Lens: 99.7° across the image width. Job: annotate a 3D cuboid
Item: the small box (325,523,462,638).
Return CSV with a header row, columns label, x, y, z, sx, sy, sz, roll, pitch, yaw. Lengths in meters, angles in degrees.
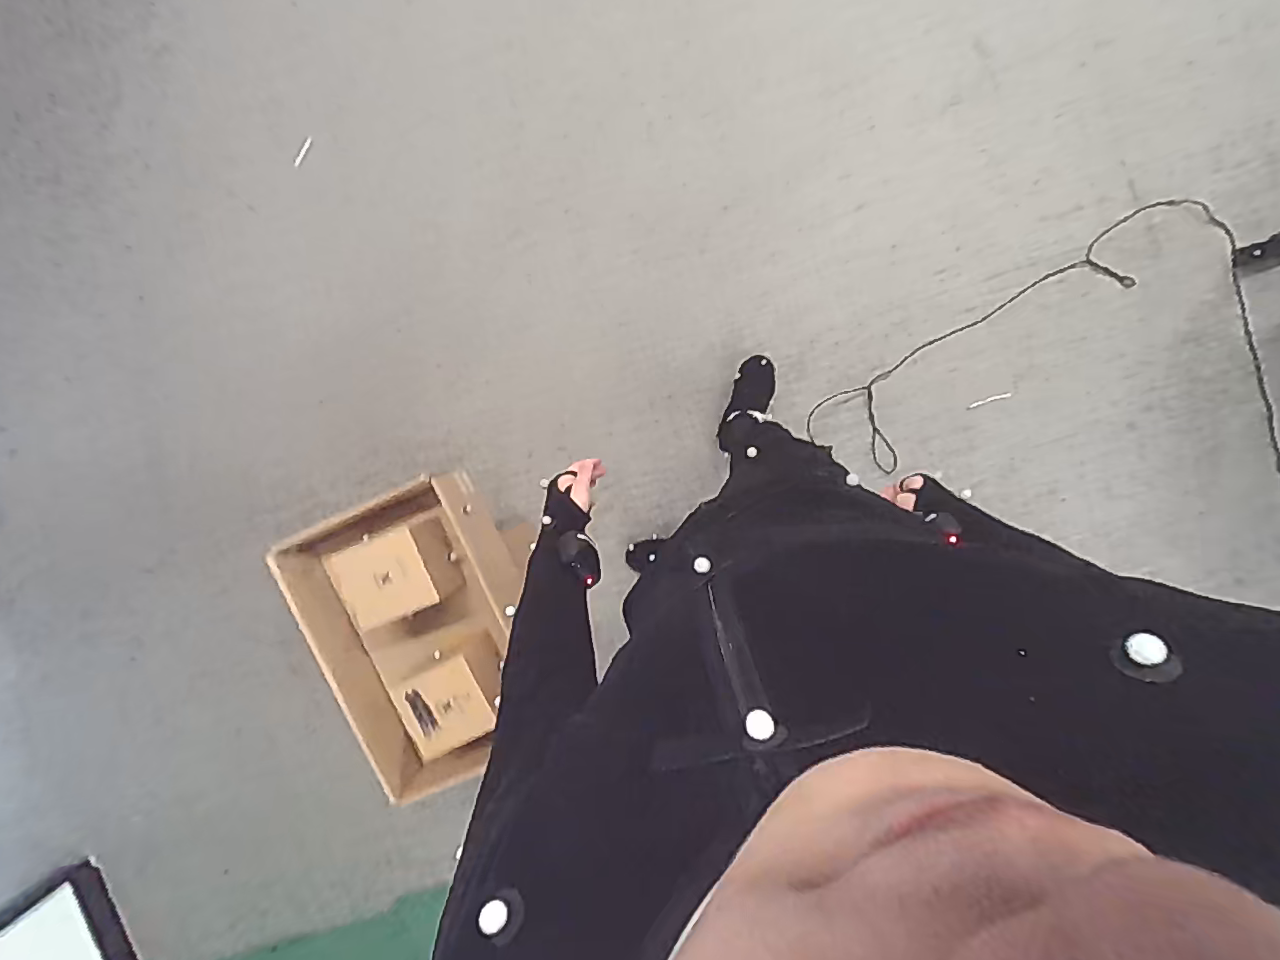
label,x,y,z,sx,sy,sz,roll,pitch,yaw
small box,-0.510,0.203,1.143,0.179,0.176,0.168,-22,94,3
